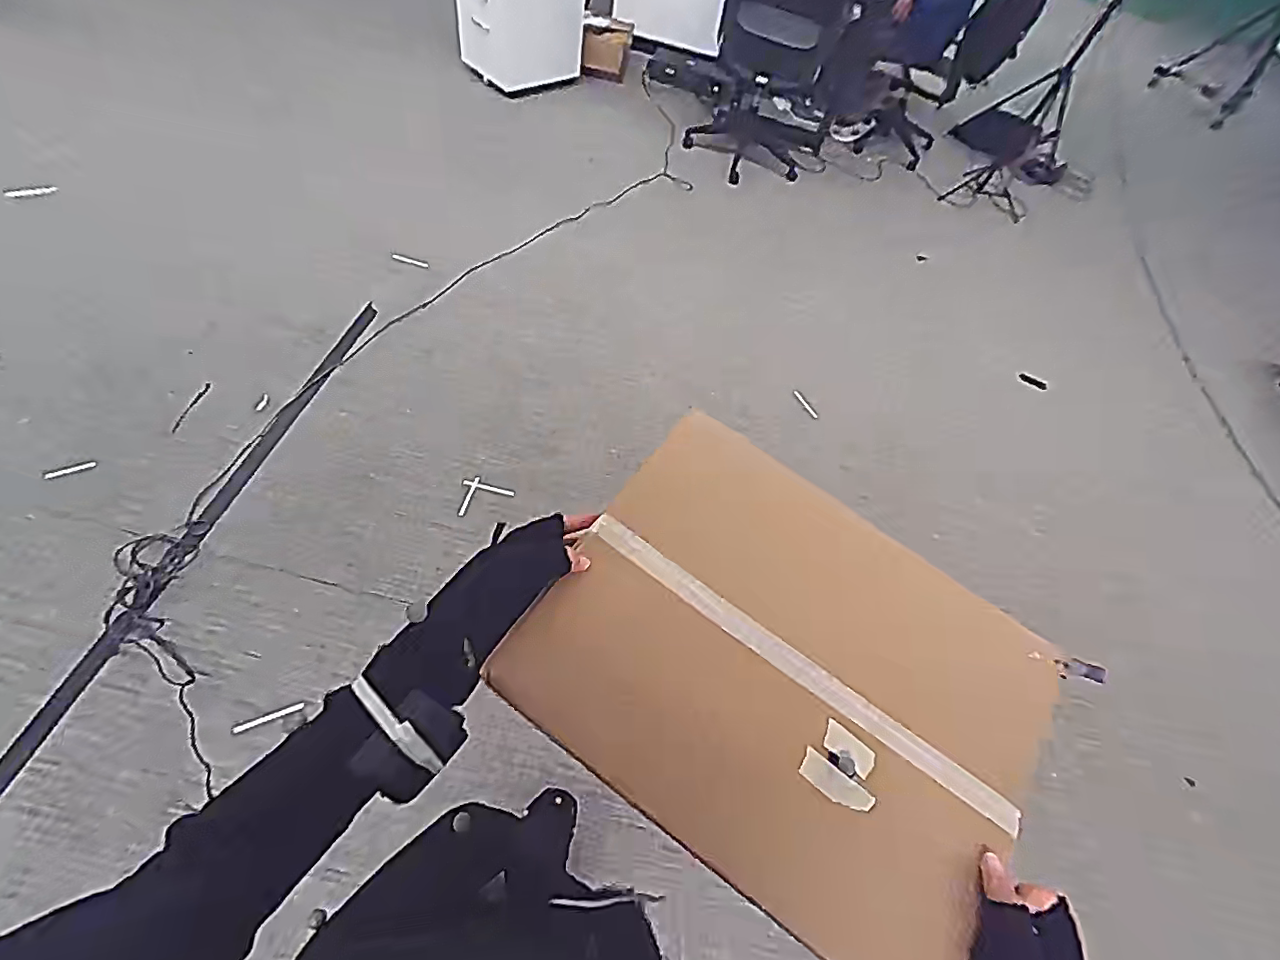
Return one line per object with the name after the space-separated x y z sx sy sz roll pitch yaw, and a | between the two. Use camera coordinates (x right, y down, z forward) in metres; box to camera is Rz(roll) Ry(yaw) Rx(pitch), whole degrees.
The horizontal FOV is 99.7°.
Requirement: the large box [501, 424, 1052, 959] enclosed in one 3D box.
0.111 0.219 0.595 0.408 0.320 0.320 36 67 8 | large box
